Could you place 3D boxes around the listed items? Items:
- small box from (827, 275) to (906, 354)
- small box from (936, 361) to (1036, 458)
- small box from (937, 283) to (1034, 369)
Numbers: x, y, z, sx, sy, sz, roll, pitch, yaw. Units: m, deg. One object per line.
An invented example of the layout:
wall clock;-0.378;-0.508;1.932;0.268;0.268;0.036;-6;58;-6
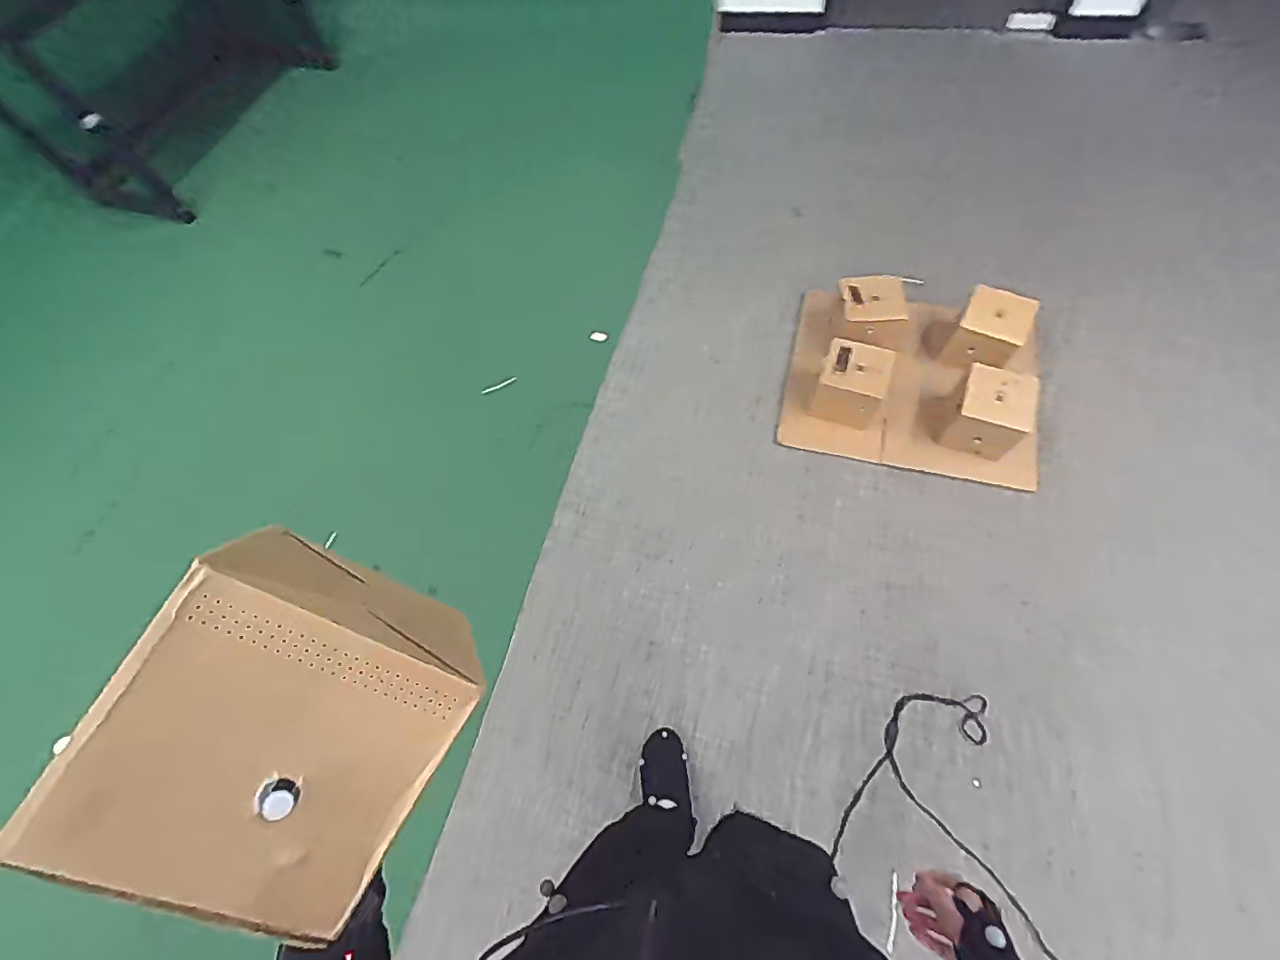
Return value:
small box;0.676;-0.497;1.642;0.179;0.176;0.168;-1;65;5
small box;0.928;-0.185;1.464;0.168;0.176;0.179;19;68;14
small box;0.996;-0.430;1.574;0.168;0.176;0.179;26;69;17
